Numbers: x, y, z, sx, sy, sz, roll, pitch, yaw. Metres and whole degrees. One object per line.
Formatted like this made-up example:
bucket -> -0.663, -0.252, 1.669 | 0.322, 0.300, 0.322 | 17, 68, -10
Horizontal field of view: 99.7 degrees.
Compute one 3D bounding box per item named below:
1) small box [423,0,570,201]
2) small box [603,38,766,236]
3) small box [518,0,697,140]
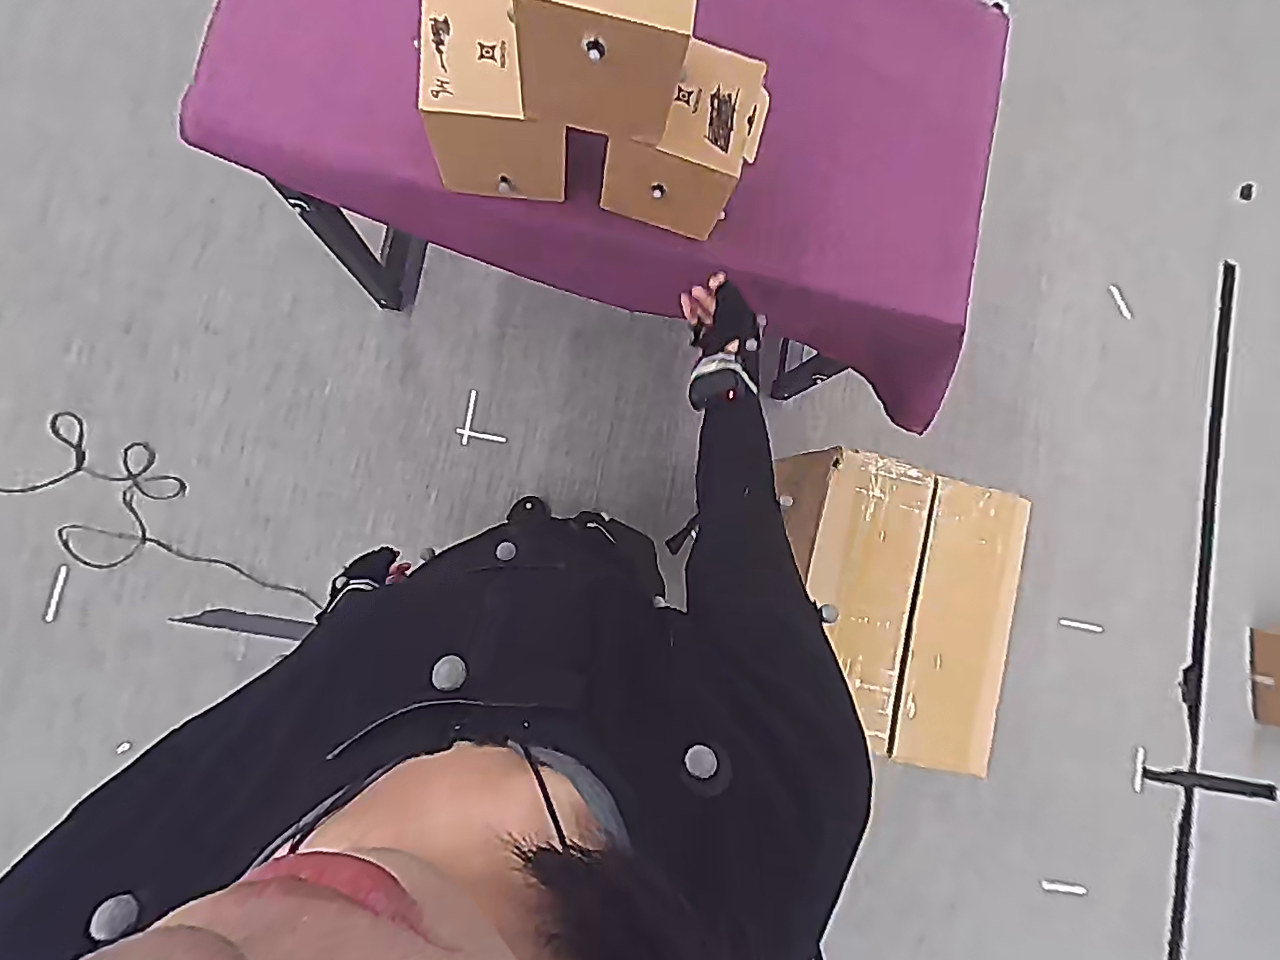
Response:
small box -> -0.187, -0.511, 0.742 | 0.179, 0.176, 0.168 | 1, 85, -10
small box -> 0.053, -0.481, 0.773 | 0.179, 0.176, 0.168 | 15, 83, -6
small box -> -0.036, -0.517, 0.599 | 0.179, 0.176, 0.168 | 8, 86, -9
